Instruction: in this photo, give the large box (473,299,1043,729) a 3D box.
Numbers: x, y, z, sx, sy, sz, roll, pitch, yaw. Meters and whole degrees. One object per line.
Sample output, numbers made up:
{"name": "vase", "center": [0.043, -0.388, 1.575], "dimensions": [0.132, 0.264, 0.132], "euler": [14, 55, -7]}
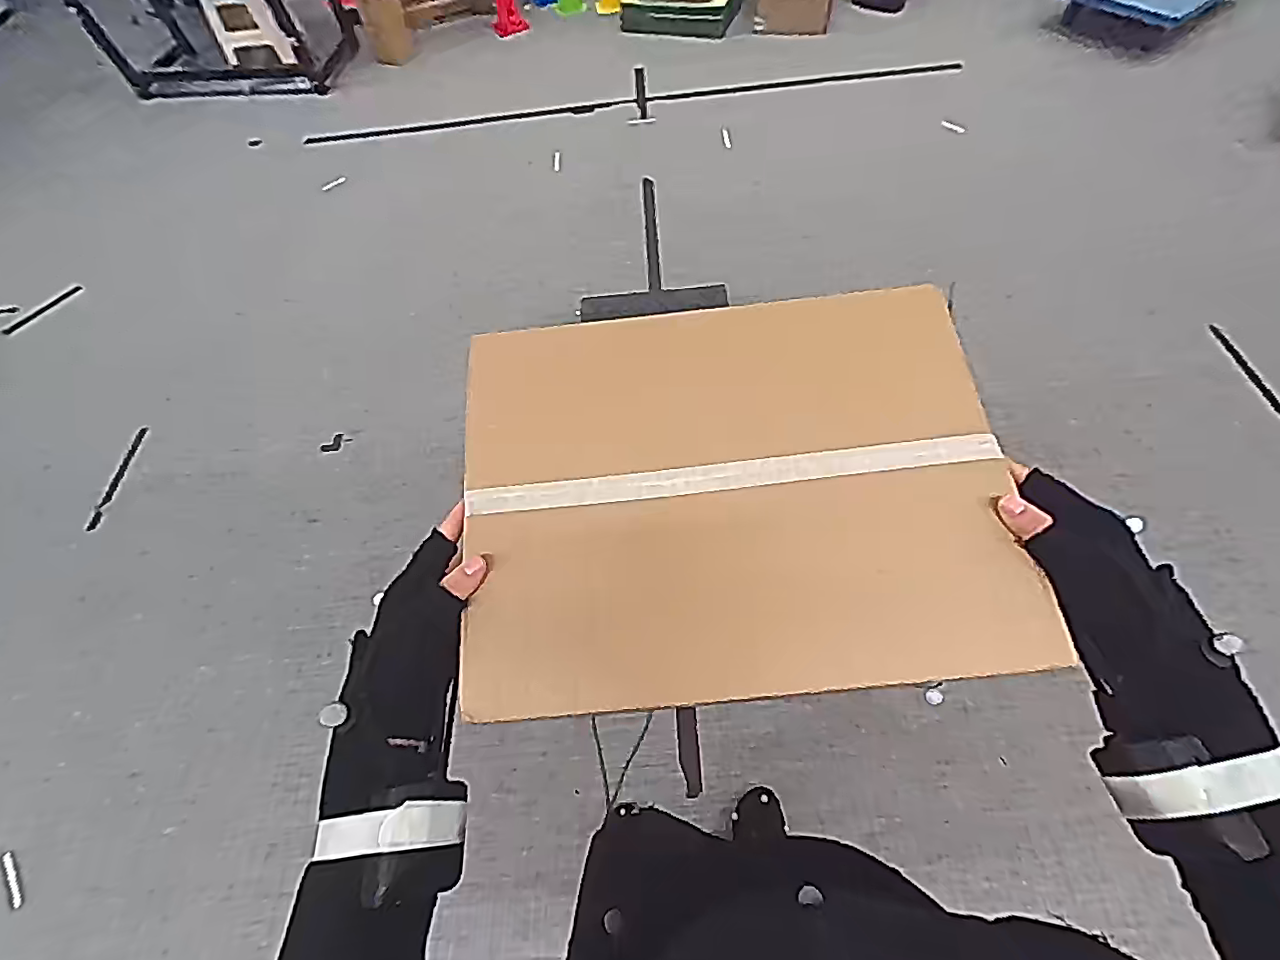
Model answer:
{"name": "large box", "center": [0.076, 0.059, 0.563], "dimensions": [0.408, 0.320, 0.320], "euler": [-7, 68, 2]}
